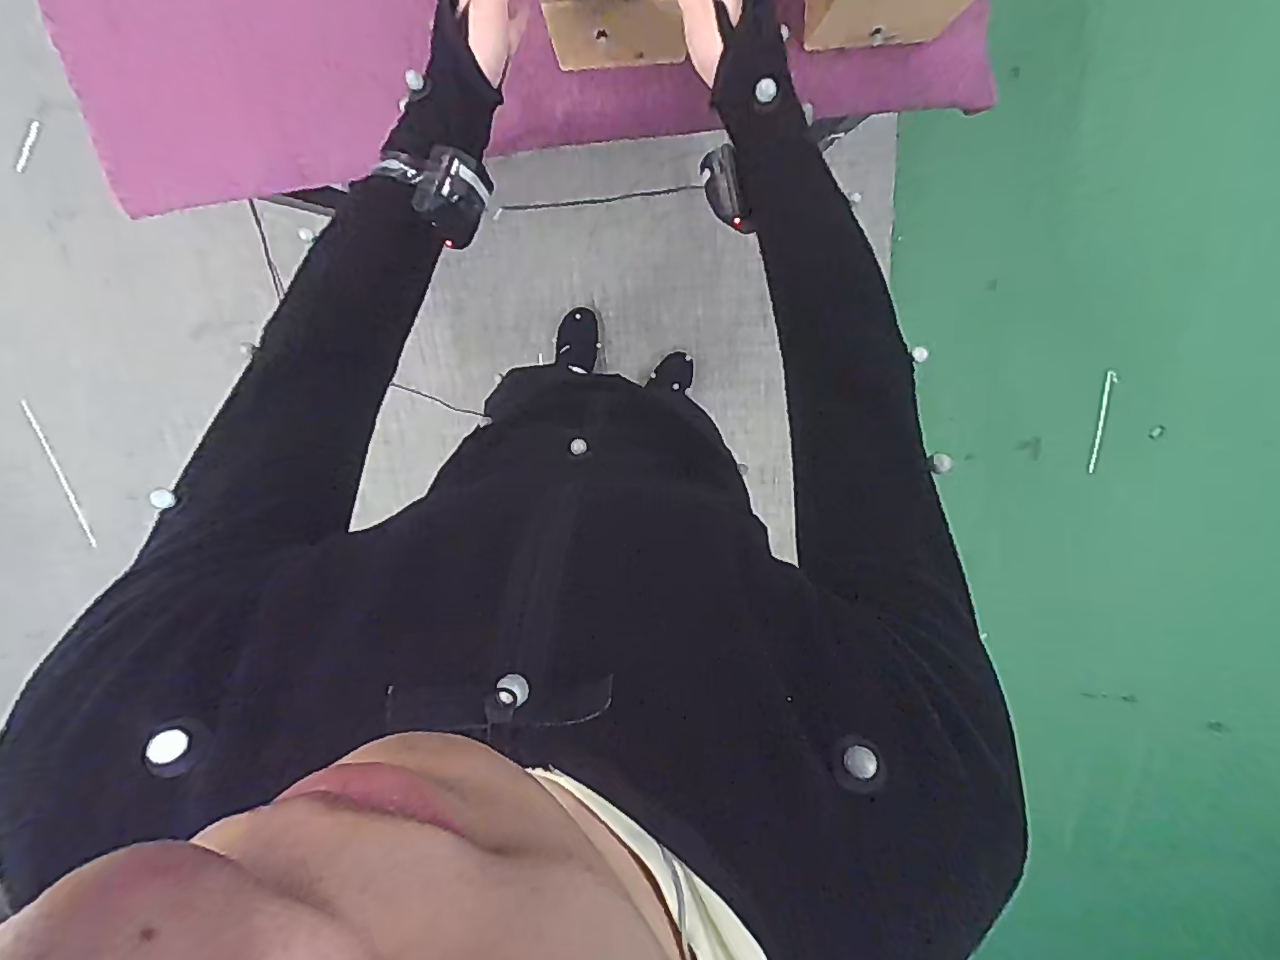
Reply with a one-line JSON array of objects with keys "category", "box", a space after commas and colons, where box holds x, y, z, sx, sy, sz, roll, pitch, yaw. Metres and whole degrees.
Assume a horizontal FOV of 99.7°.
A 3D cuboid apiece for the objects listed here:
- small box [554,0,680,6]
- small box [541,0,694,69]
[{"category": "small box", "box": [-0.024, -0.554, 0.460, 0.168, 0.176, 0.179, -2, 109, 1]}, {"category": "small box", "box": [-0.025, -0.601, 0.617, 0.168, 0.176, 0.179, -4, 107, 1]}]
